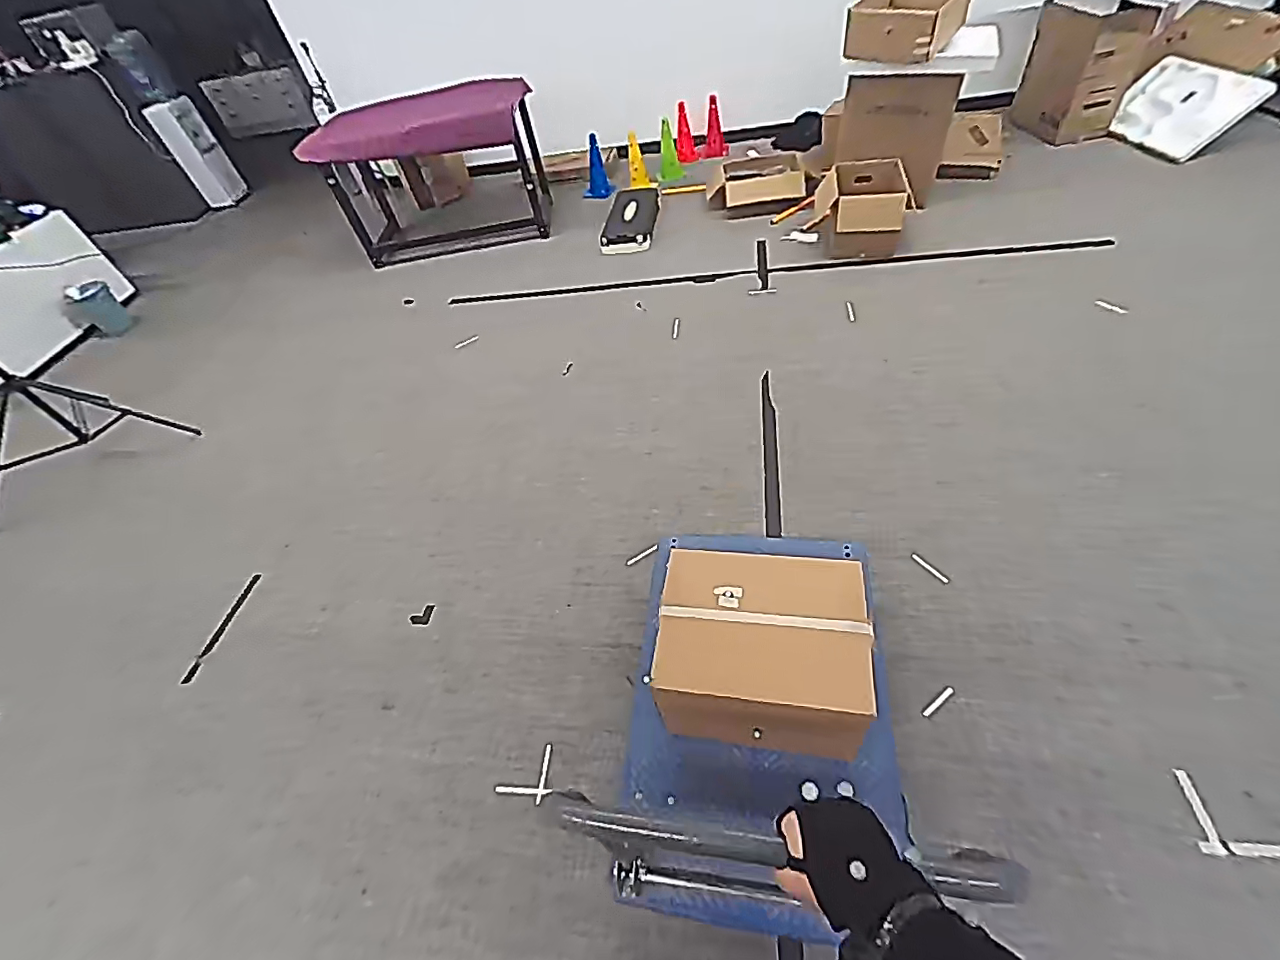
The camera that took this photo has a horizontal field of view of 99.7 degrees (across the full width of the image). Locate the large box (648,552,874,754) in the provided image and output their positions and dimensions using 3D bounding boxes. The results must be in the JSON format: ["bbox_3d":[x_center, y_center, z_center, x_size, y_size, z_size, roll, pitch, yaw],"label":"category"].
[{"bbox_3d":[0.257,0.373,1.171,0.408,0.320,0.320,1,49,14],"label":"large box"}]
